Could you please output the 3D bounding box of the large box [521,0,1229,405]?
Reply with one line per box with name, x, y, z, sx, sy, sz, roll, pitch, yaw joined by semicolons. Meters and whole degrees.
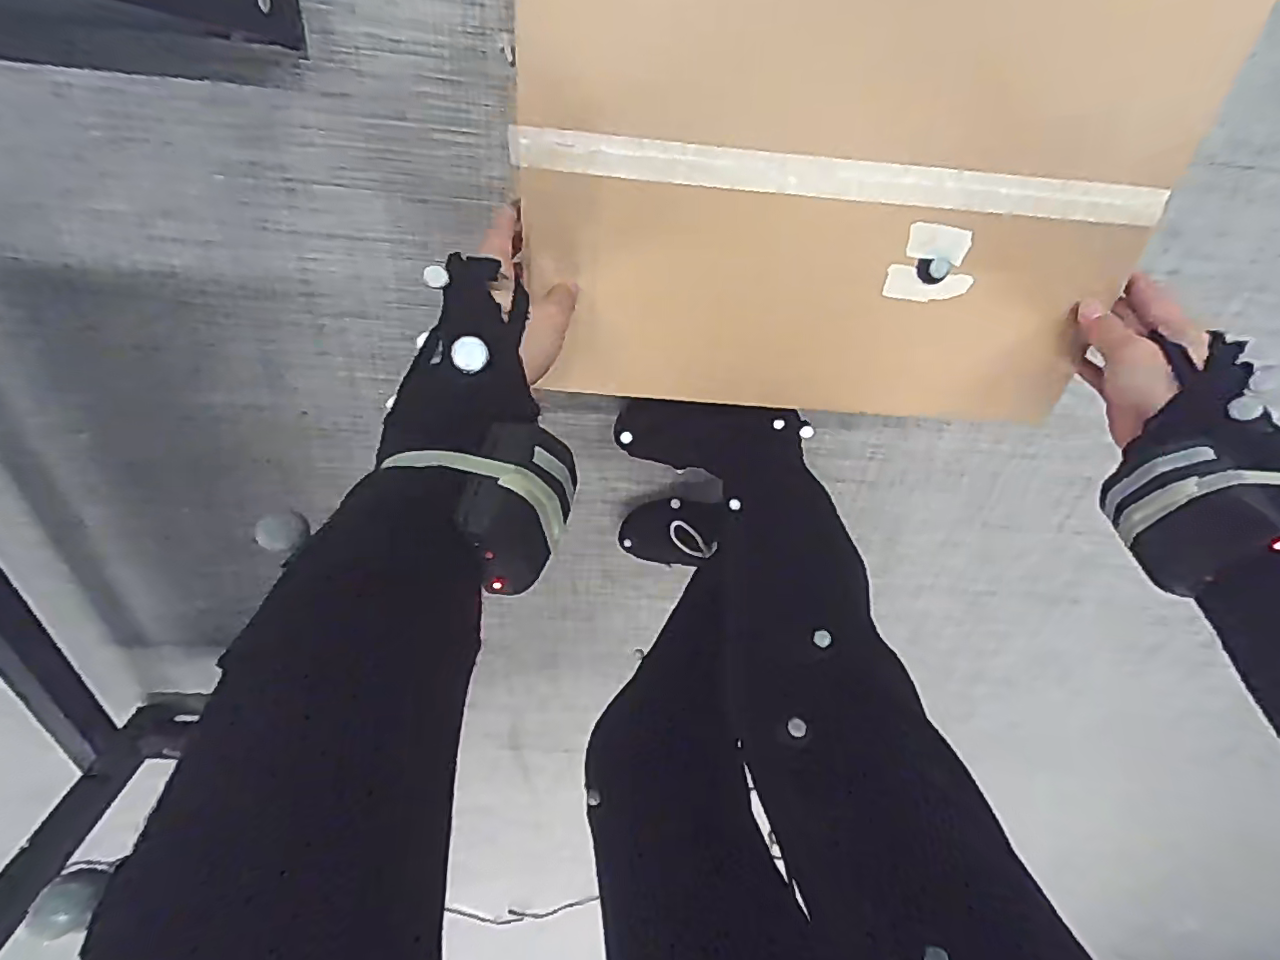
large box;0.122;-0.274;0.473;0.408;0.320;0.320;3;122;-4
